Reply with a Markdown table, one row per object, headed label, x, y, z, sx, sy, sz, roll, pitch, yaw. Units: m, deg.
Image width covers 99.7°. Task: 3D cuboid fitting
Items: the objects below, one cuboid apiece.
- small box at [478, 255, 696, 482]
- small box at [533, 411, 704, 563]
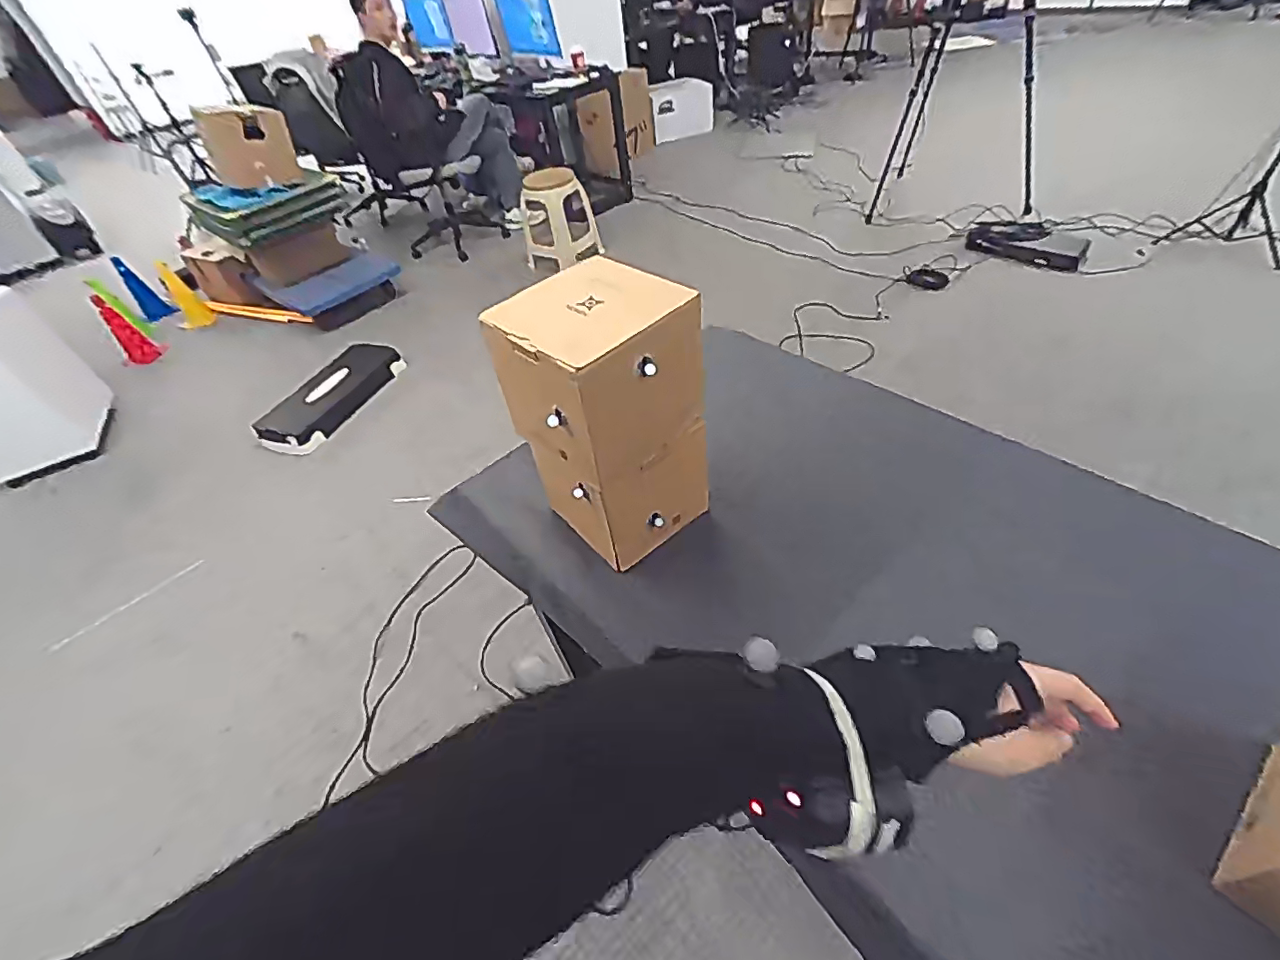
| label | x | y | z | sx | sy | sz | roll | pitch | yaw |
| --- | --- | --- | --- | --- | --- | --- | --- | --- | --- |
| small box | -0.048 | -0.128 | 0.620 | 0.168 | 0.176 | 0.179 | 33 | 57 | 32 |
| small box | -0.029 | -0.021 | 0.740 | 0.168 | 0.176 | 0.179 | -34 | 50 | -23 |
